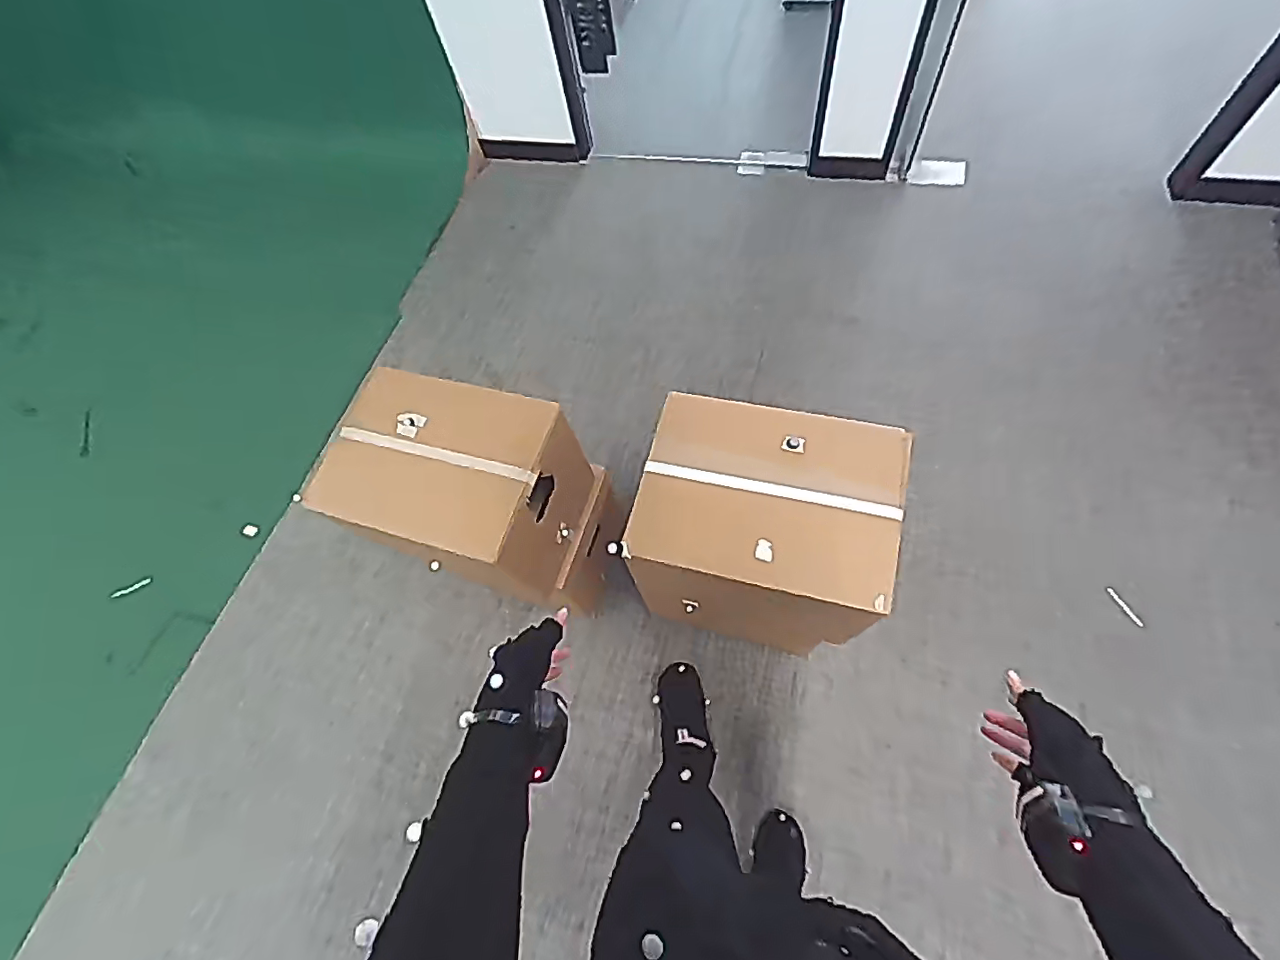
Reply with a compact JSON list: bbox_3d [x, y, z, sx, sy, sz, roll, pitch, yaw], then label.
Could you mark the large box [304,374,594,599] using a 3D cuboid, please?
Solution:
[{"bbox_3d":[-0.354,0.023,1.109,0.408,0.320,0.320,13,68,16],"label":"large box"}]
